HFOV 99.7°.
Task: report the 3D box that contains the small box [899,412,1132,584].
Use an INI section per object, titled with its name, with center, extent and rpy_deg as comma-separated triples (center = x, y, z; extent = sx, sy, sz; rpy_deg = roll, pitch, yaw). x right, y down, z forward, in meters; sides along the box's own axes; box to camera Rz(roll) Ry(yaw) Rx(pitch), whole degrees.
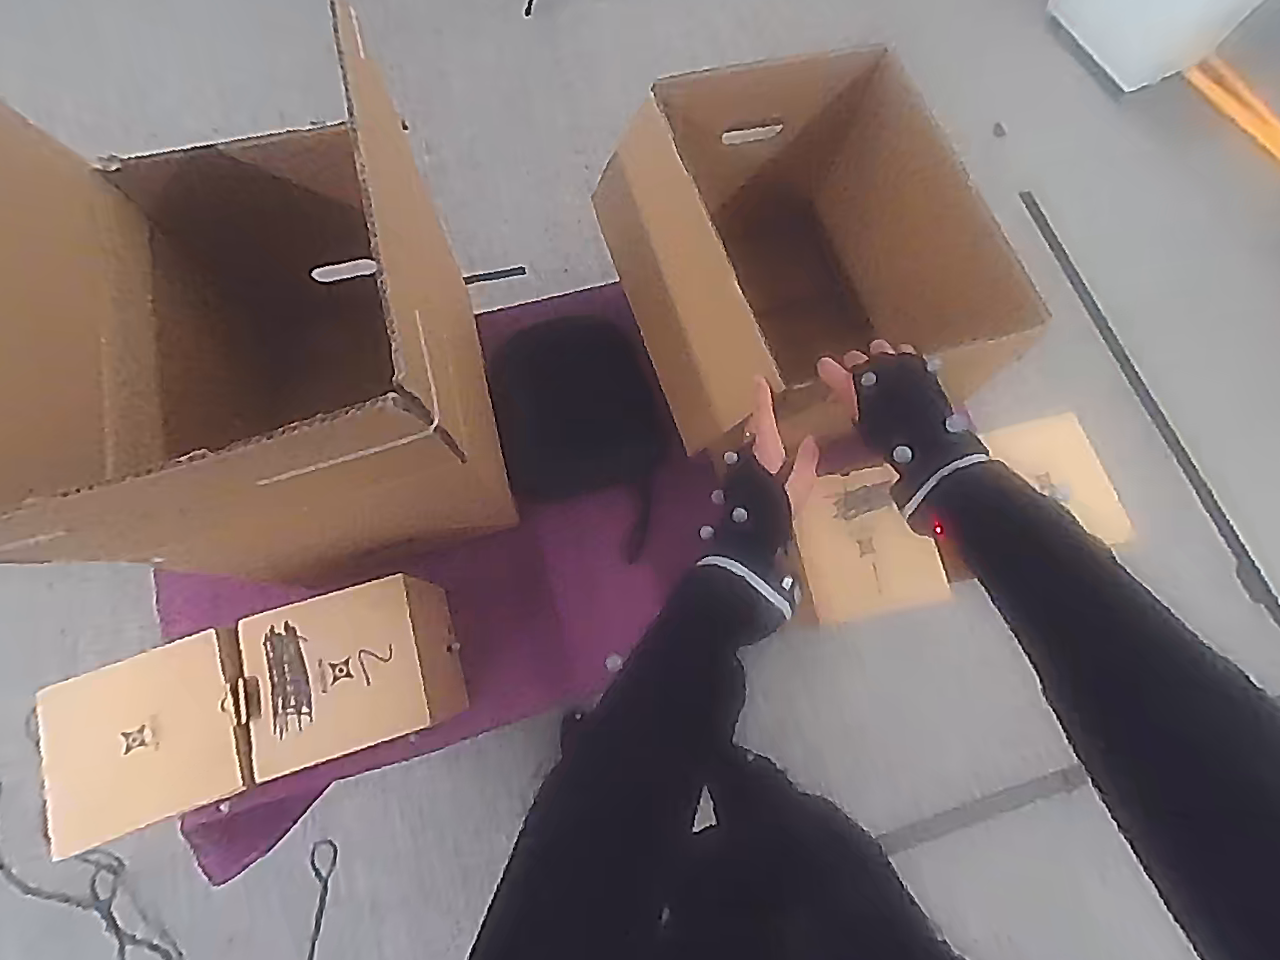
[small box]
center = 0.491, 0.032, 0.742
extent = 0.168, 0.176, 0.179
rpy_deg = -13, 74, -5
